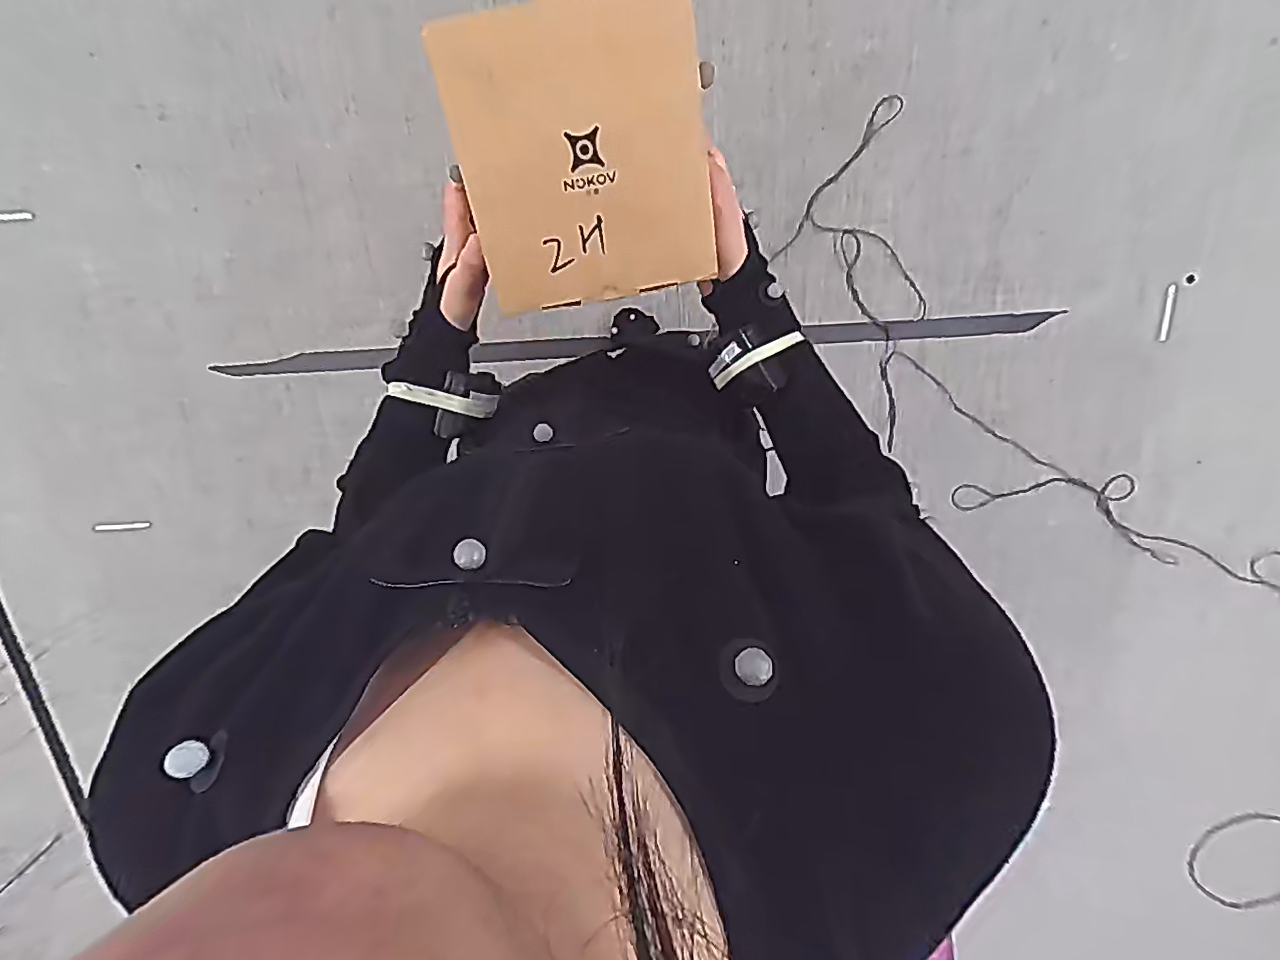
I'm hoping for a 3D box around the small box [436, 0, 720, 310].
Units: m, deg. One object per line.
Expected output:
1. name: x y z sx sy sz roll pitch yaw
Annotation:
1. small box: -0.040 -0.249 0.434 0.168 0.176 0.179 -10 117 0
